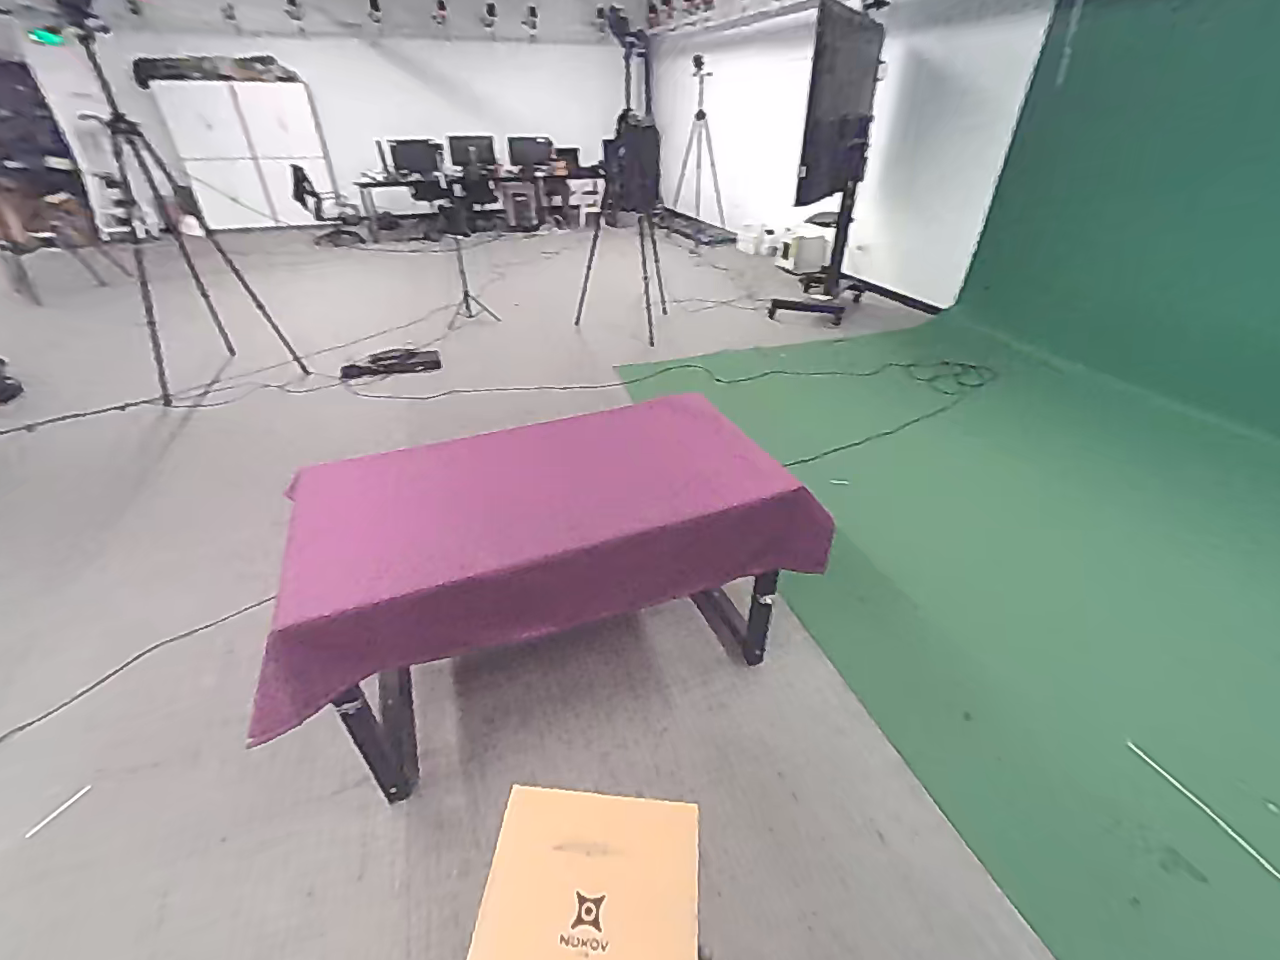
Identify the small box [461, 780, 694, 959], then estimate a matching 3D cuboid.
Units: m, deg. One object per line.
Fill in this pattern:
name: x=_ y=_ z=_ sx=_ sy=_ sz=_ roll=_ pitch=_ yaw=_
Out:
small box: x=-0.045 y=0.390 z=0.459 sx=0.168 sy=0.176 sz=0.179 roll=5 pitch=38 yaw=3
